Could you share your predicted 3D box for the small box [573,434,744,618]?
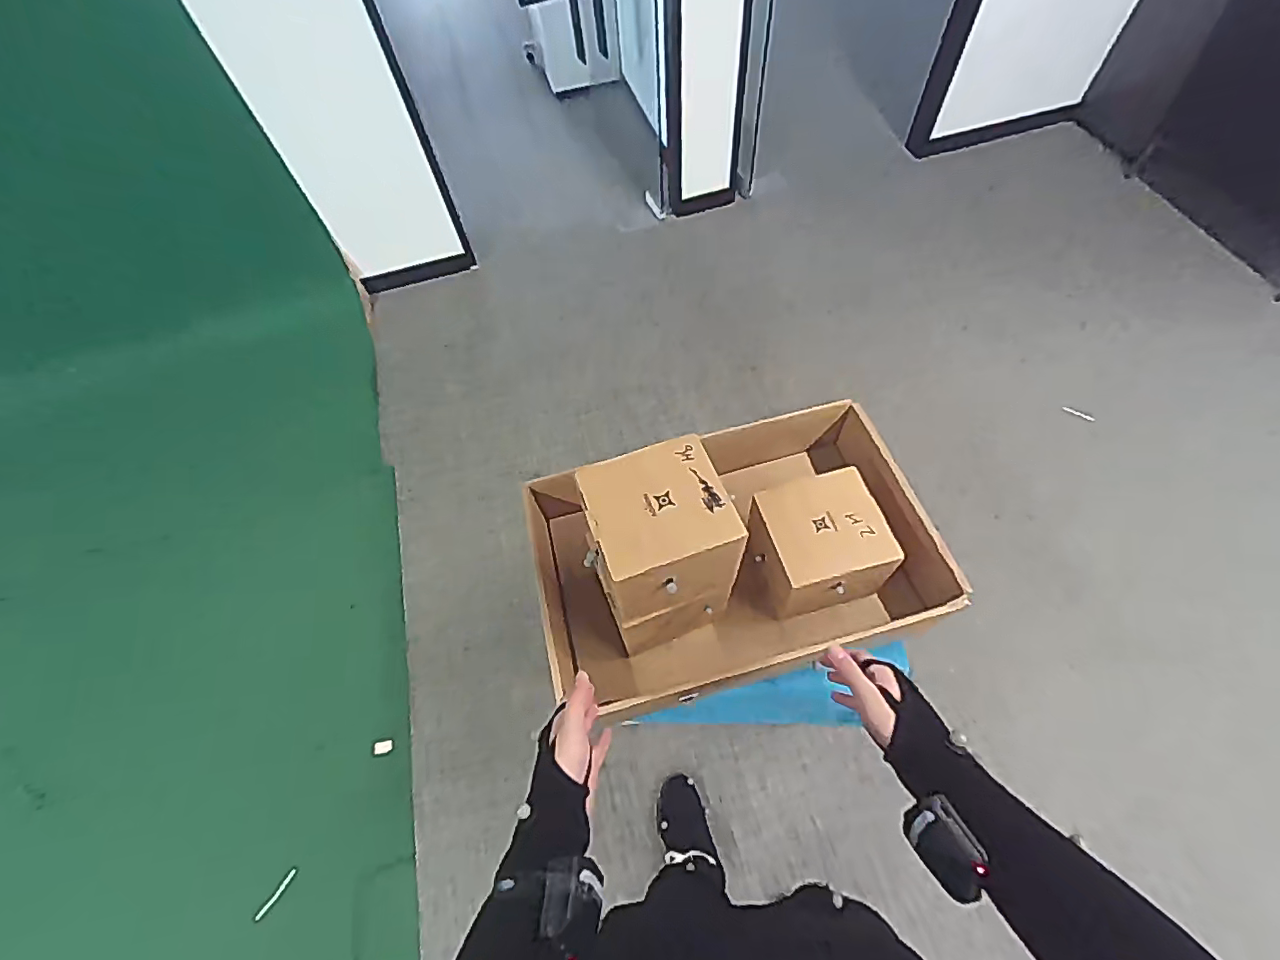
[{"bbox_3d":[0.025,0.070,0.742,0.179,0.176,0.168,-19,60,-7],"label":"small box"}]
